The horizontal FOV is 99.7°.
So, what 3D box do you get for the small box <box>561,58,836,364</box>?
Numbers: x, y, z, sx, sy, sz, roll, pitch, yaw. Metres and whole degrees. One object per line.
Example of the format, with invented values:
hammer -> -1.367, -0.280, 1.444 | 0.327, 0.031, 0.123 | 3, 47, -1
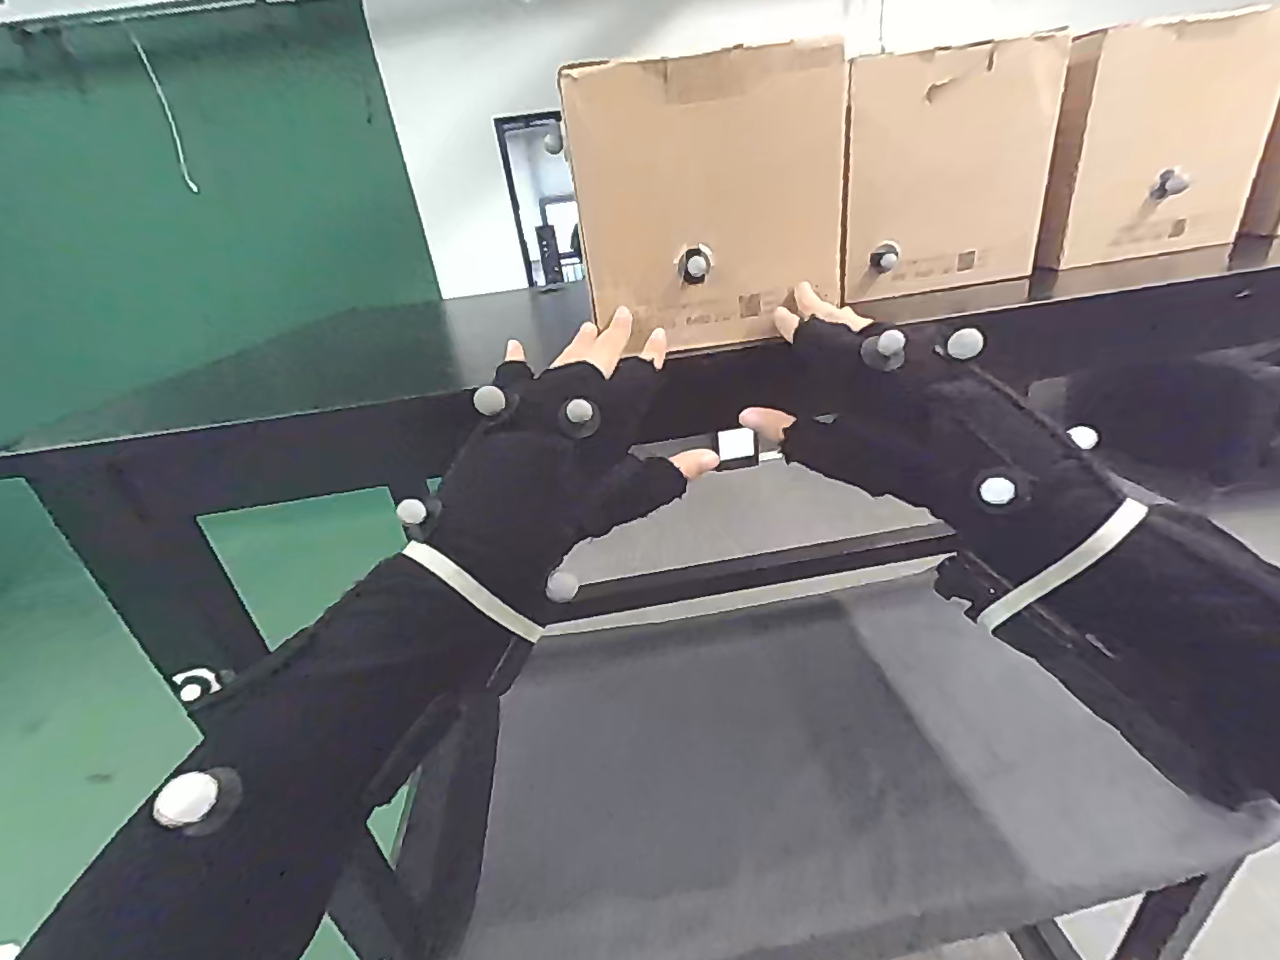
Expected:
small box -> 0.036, -0.196, 0.423 | 0.168, 0.176, 0.179 | -9, 26, -2
